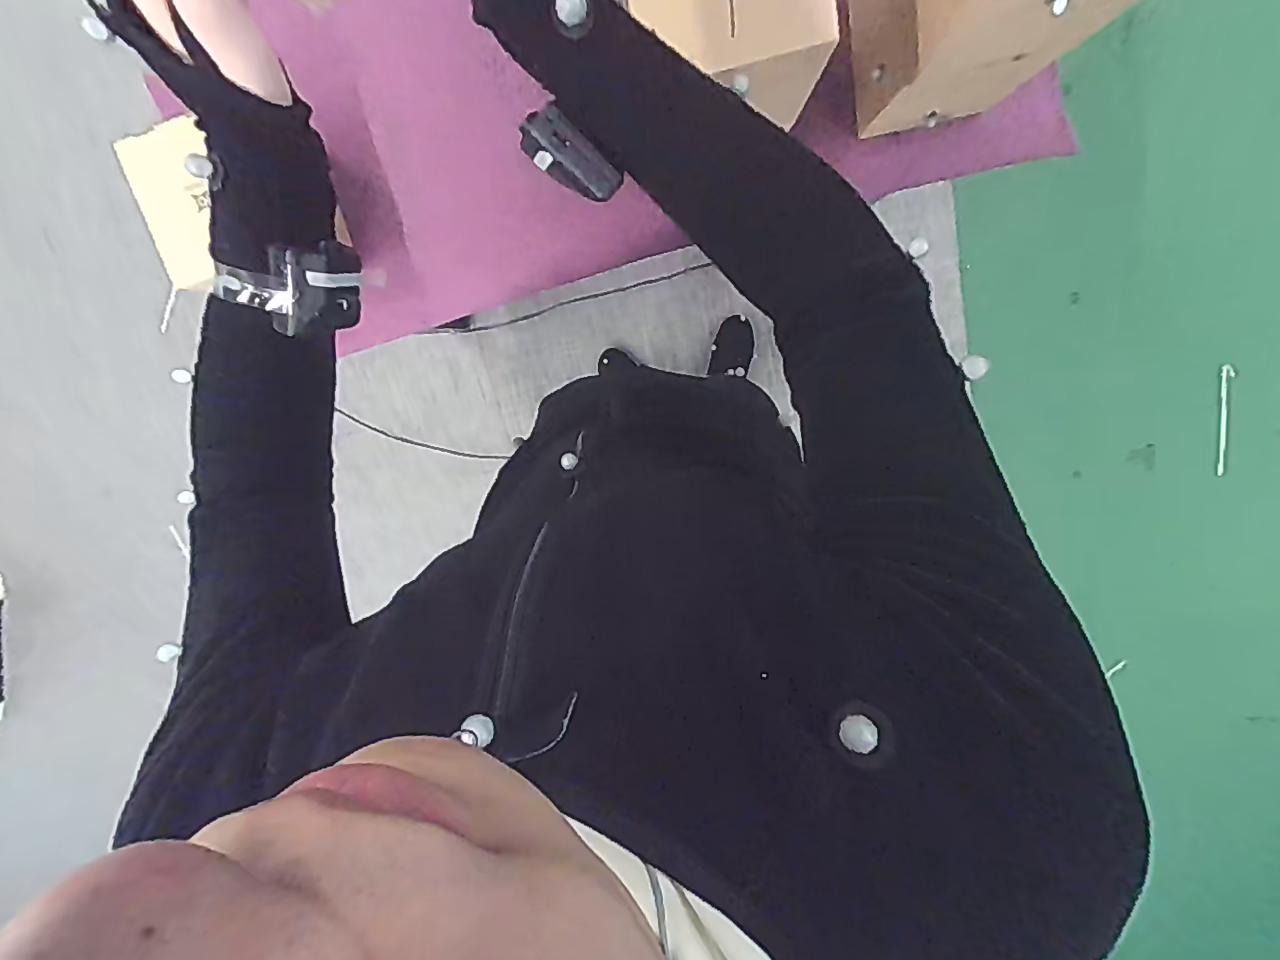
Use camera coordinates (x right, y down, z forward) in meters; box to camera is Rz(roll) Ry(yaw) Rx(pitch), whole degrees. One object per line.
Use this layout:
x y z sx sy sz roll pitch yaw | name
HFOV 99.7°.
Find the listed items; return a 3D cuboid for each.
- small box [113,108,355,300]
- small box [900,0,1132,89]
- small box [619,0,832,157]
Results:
-0.534 -0.359 0.740 0.168 0.176 0.179 -13 103 7 | small box
0.343 -0.496 0.479 0.168 0.176 0.179 -9 103 7 | small box
0.068 -0.444 0.514 0.168 0.176 0.179 -11 104 7 | small box
